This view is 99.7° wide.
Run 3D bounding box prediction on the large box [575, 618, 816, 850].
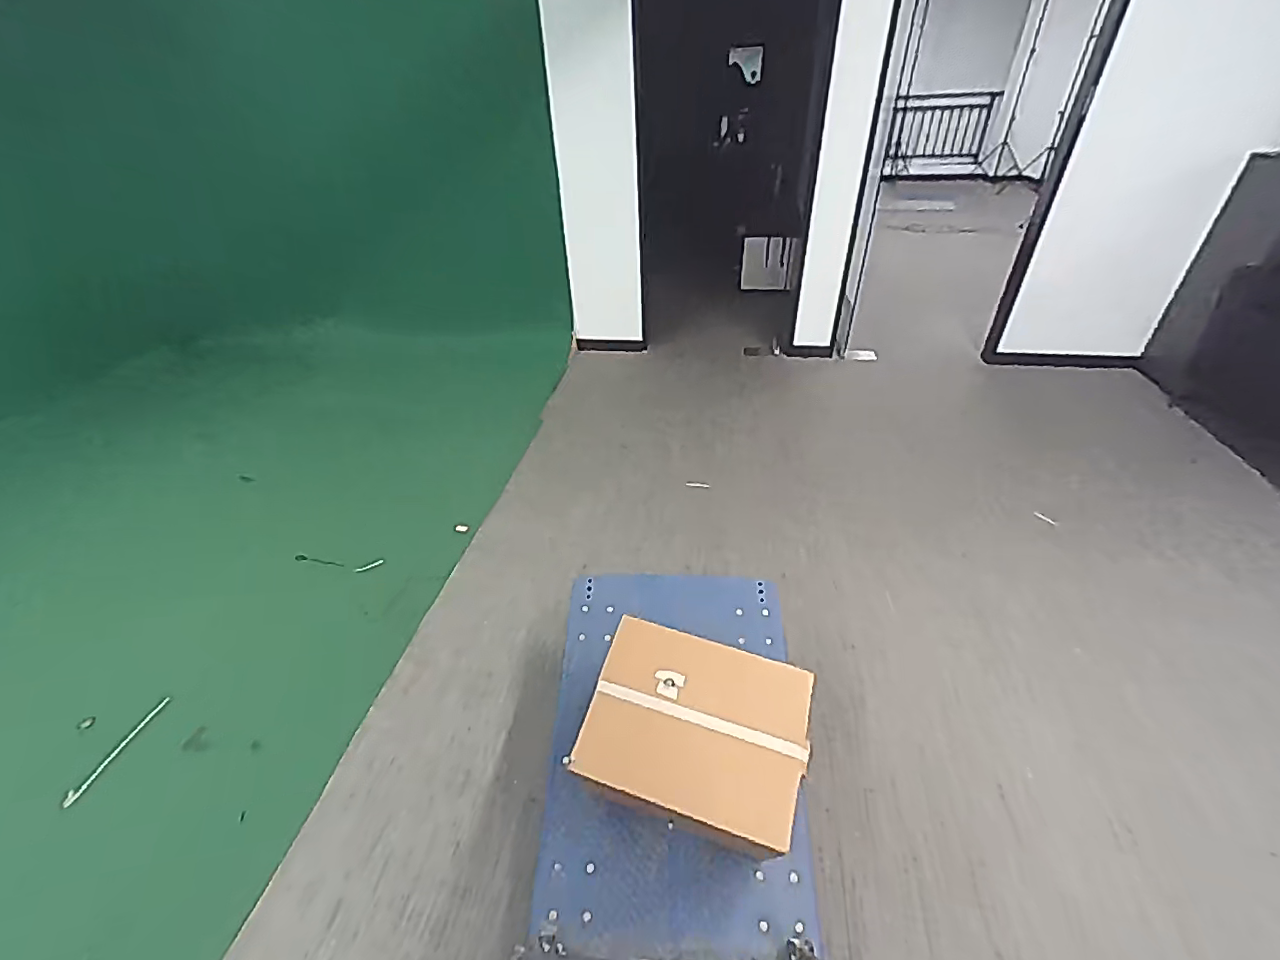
[{"bbox_3d":[0.126,0.538,1.141,0.408,0.320,0.320,13,56,14],"label":"large box"}]
